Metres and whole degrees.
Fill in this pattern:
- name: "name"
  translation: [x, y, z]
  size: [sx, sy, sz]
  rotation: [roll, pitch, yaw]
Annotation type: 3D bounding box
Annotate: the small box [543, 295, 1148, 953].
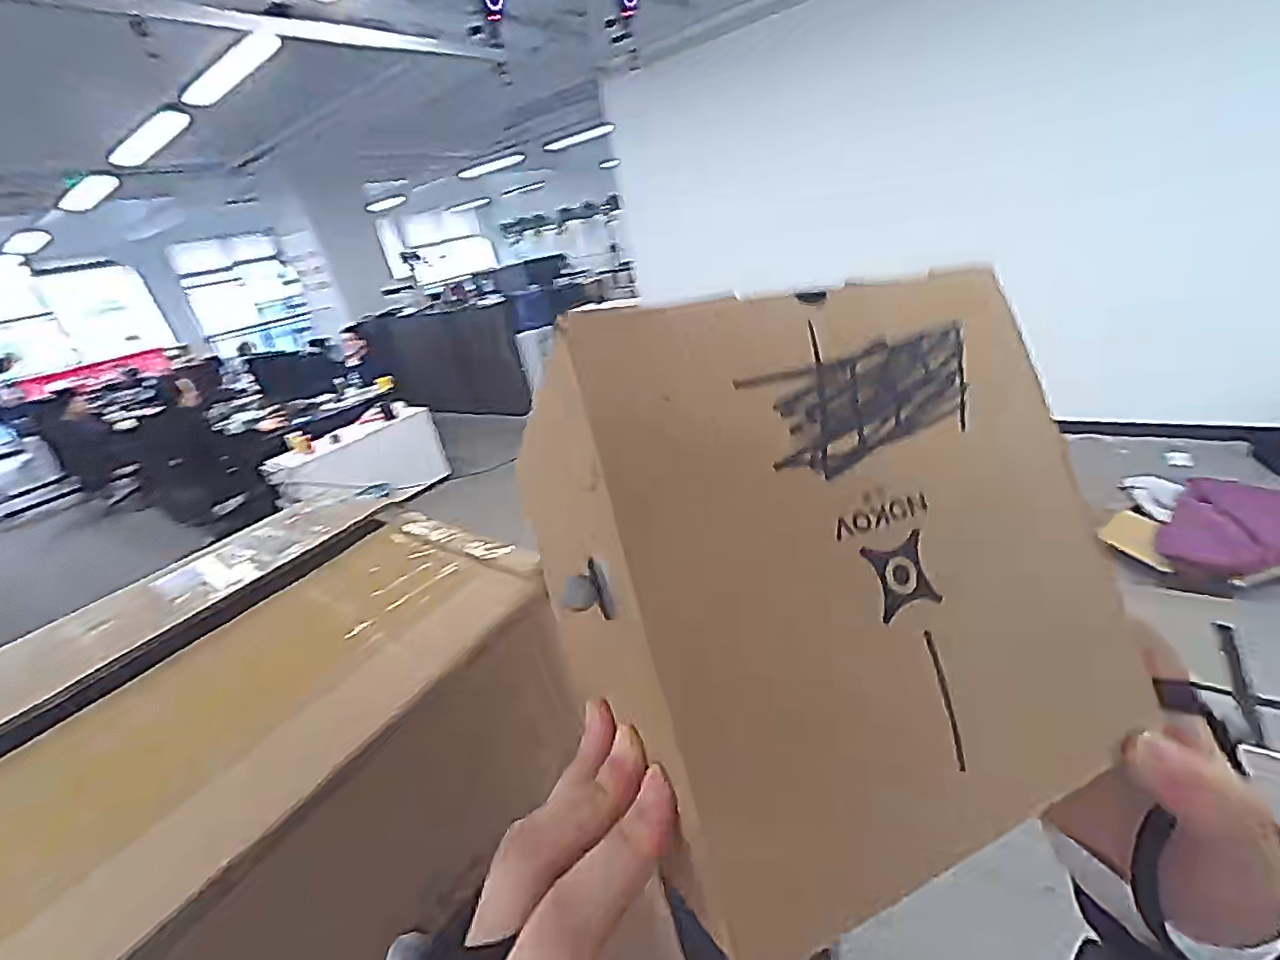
- name: "small box"
  translation: [0.059, 0.042, 0.250]
  size: [0.168, 0.179, 0.176]
  rotation: [-13, -8, -18]
